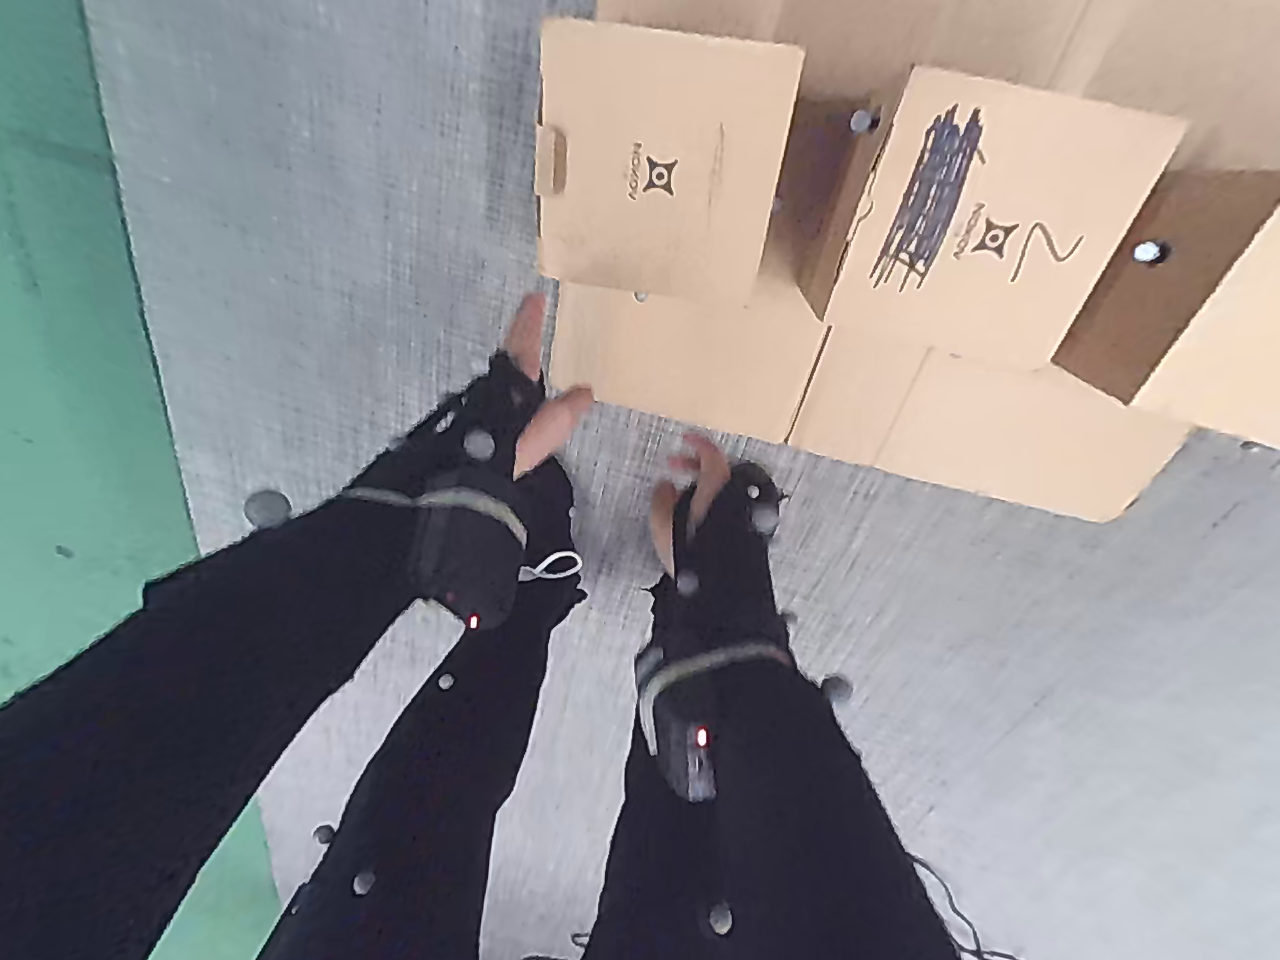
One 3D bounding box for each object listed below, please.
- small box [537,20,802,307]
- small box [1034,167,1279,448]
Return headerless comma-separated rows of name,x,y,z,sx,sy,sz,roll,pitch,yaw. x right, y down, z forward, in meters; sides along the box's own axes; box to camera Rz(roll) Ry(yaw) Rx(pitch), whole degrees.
small box,0.022,-0.259,0.460,0.179,0.176,0.168,9,121,3
small box,0.483,-0.141,0.446,0.179,0.176,0.168,15,120,0
